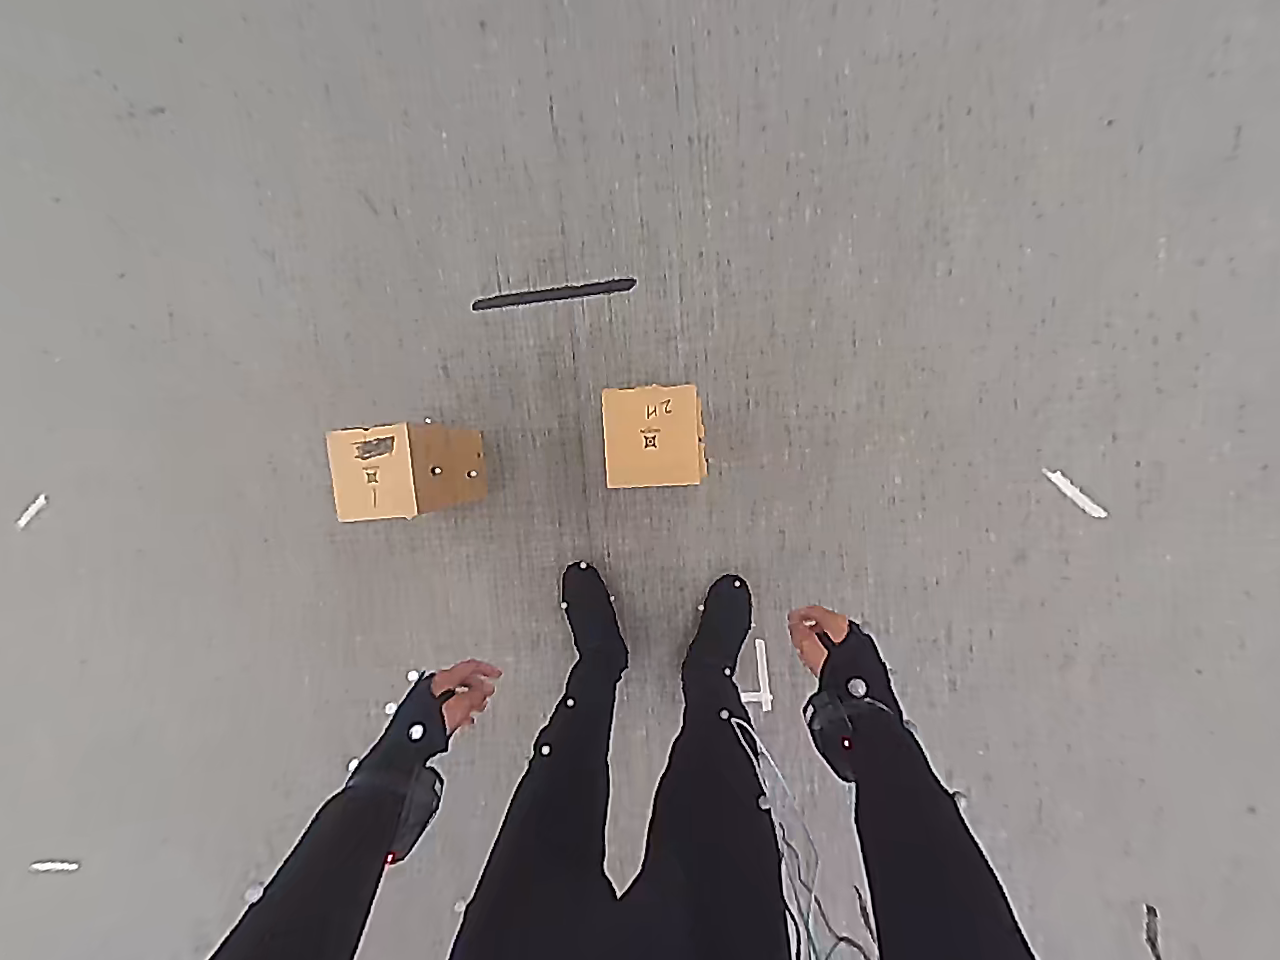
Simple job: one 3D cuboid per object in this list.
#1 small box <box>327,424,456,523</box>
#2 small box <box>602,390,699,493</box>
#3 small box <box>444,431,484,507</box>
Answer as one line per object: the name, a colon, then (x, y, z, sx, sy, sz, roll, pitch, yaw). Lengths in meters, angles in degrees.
small box: (-0.486, -0.016, 1.079, 0.168, 0.176, 0.179, -4, 94, 8)
small box: (0.026, -0.073, 1.017, 0.168, 0.176, 0.179, -2, 94, 6)
small box: (-0.472, -0.025, 1.243, 0.179, 0.176, 0.168, -5, 94, 8)
